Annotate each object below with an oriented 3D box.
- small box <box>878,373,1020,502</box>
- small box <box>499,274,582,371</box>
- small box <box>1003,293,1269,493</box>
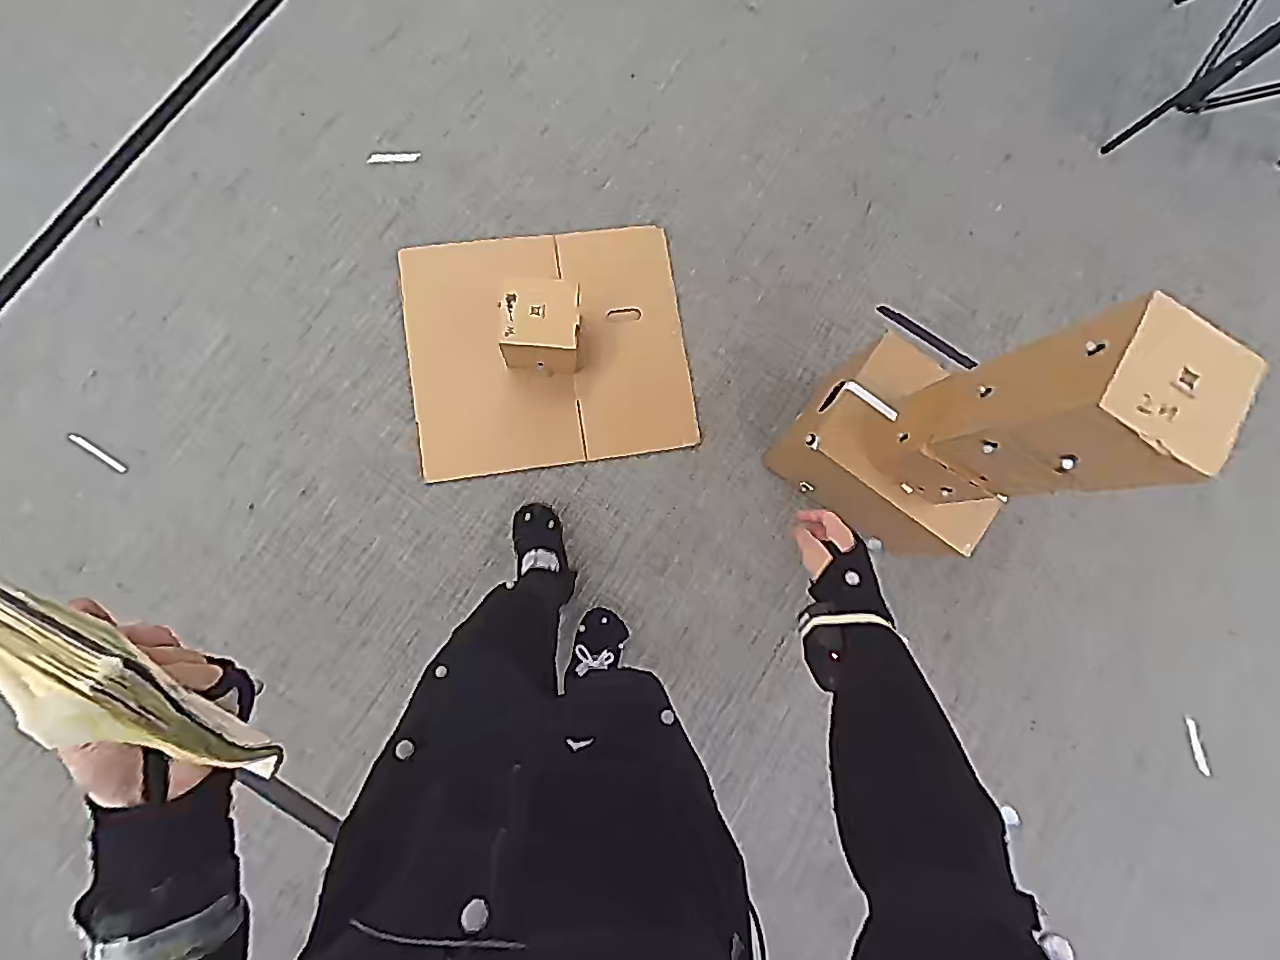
[{"bbox_3d":[0.590,-0.070,1.035,0.168,0.176,0.179,31,81,-2],"label":"small box"},{"bbox_3d":[-0.234,-0.369,1.294,0.179,0.176,0.168,4,83,-8],"label":"small box"},{"bbox_3d":[0.630,-0.100,0.710,0.168,0.176,0.179,33,82,-1],"label":"small box"}]
